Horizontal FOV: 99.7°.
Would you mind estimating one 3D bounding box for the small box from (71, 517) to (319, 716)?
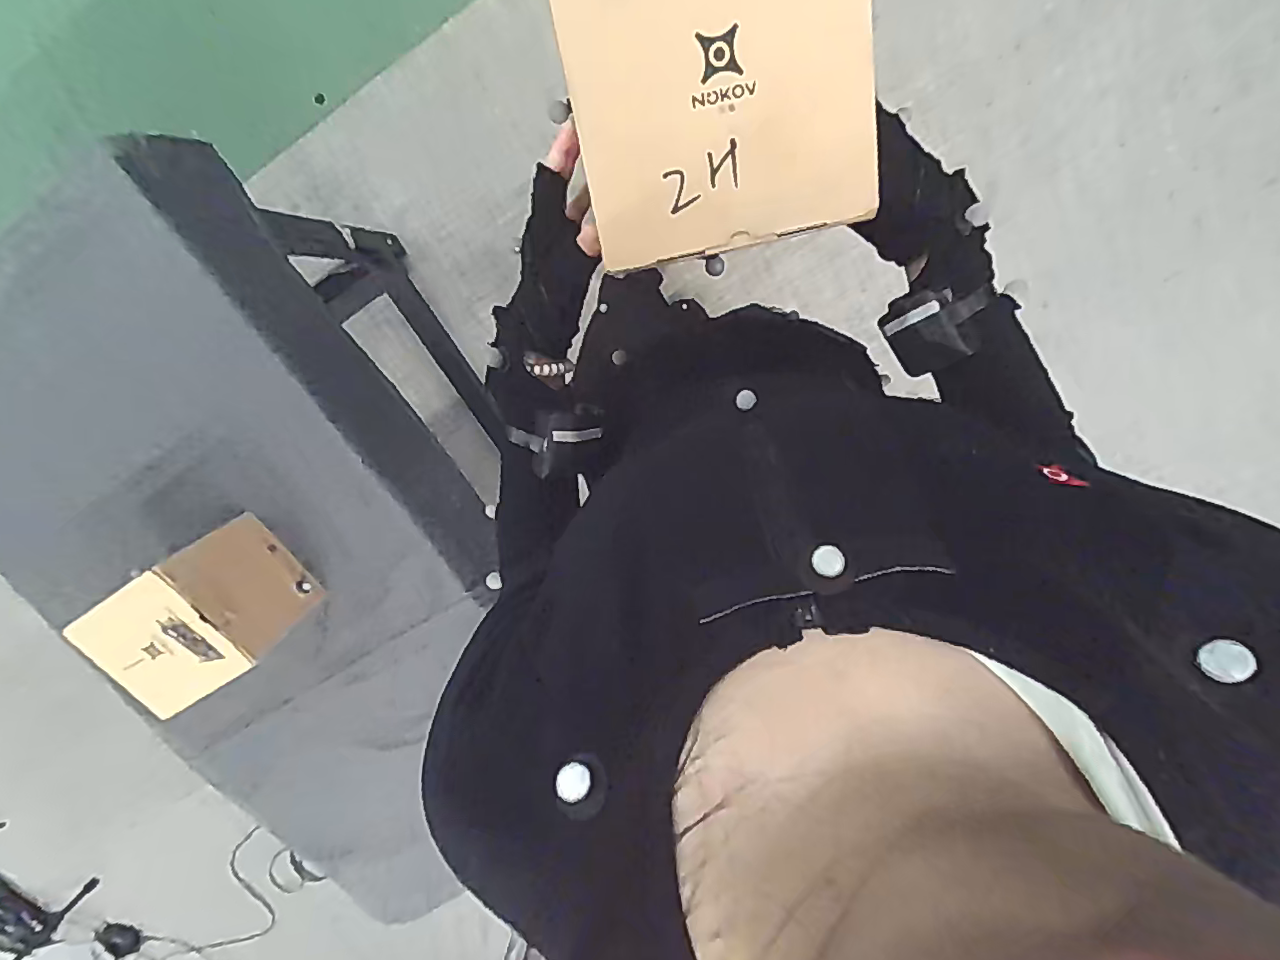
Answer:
[{"bbox_3d":[-0.589,0.179,0.749,0.179,0.176,0.168,-30,106,13],"label":"small box"}]

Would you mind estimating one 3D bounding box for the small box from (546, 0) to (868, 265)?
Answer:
[{"bbox_3d":[0.036,-0.251,0.365,0.168,0.176,0.179,-11,112,3],"label":"small box"}]
